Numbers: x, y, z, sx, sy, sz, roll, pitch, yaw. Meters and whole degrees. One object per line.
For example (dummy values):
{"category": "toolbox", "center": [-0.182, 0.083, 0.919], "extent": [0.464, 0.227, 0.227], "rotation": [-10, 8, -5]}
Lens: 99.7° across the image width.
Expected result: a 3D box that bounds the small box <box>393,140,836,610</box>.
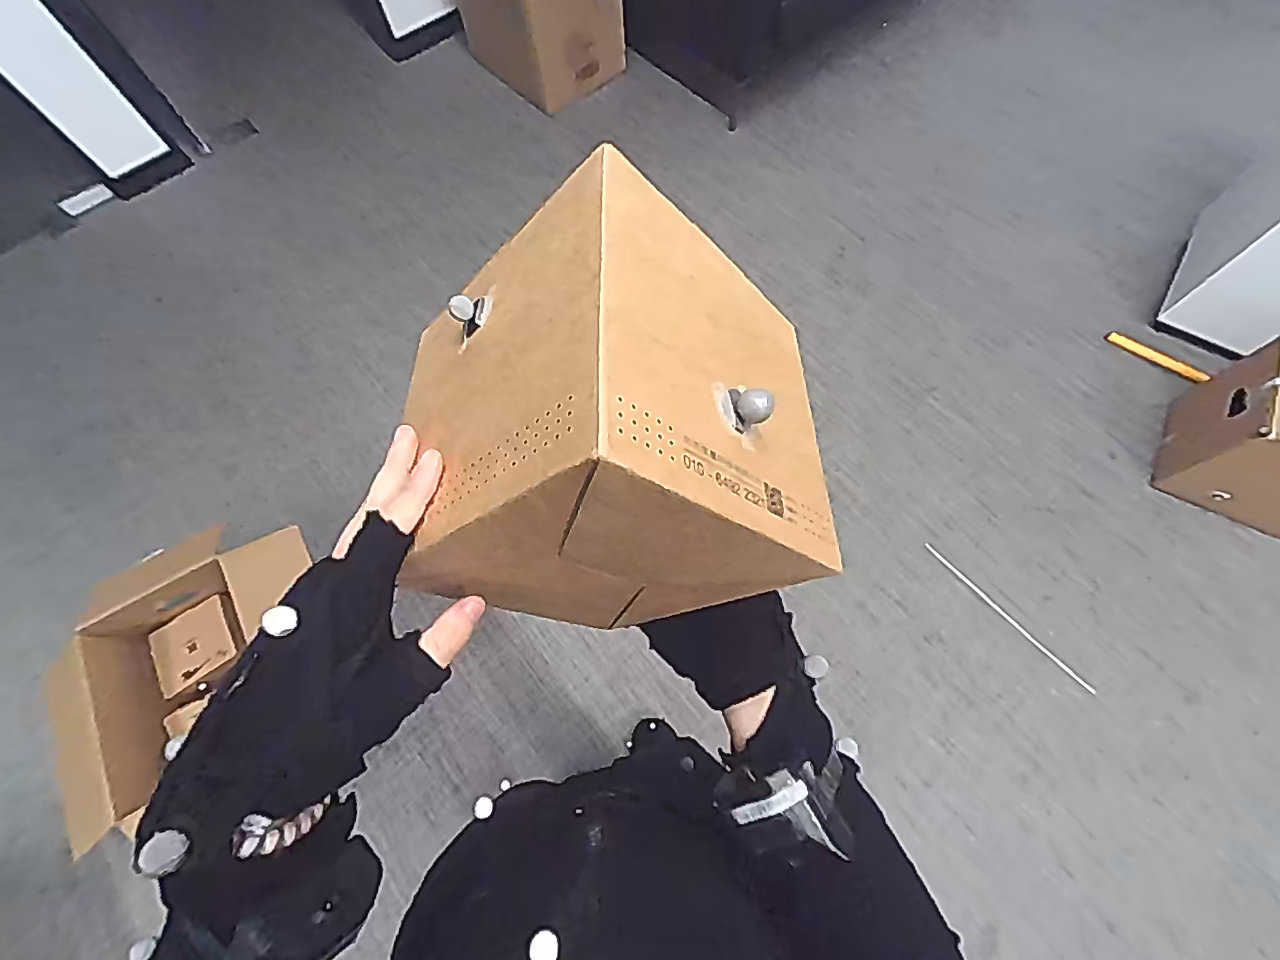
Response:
{"category": "small box", "center": [-0.016, -0.029, 0.308], "extent": [0.179, 0.168, 0.176], "rotation": [-24, 55, 38]}
